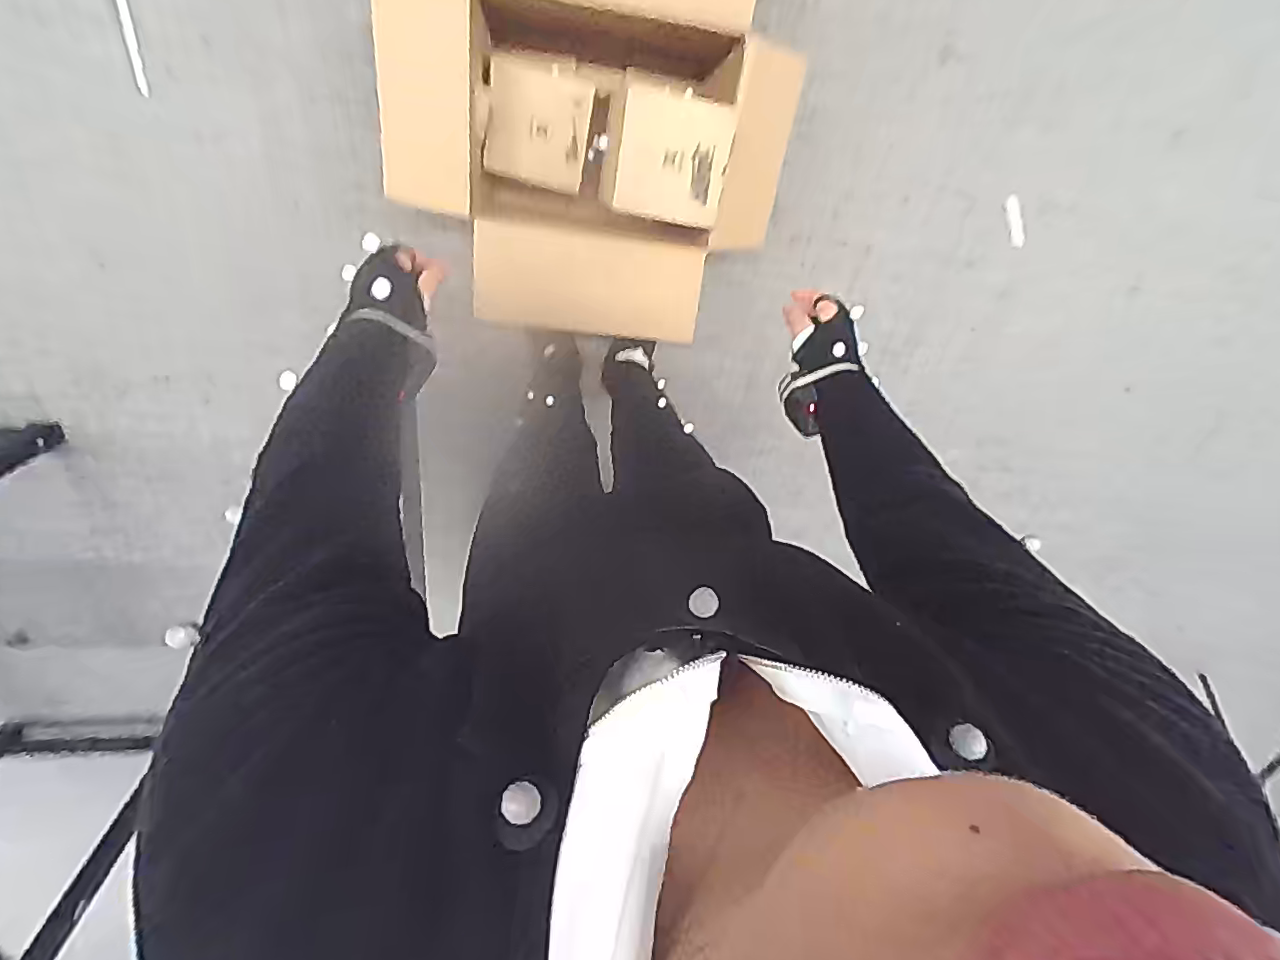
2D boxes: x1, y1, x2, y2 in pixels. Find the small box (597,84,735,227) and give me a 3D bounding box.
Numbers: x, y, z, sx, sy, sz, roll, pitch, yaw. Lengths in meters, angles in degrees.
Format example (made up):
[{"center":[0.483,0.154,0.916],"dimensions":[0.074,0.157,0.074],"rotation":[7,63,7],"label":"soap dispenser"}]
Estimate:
[{"center":[0.032,-0.536,0.901],"dimensions":[0.179,0.176,0.168],"rotation":[4,120,-14],"label":"small box"}]
